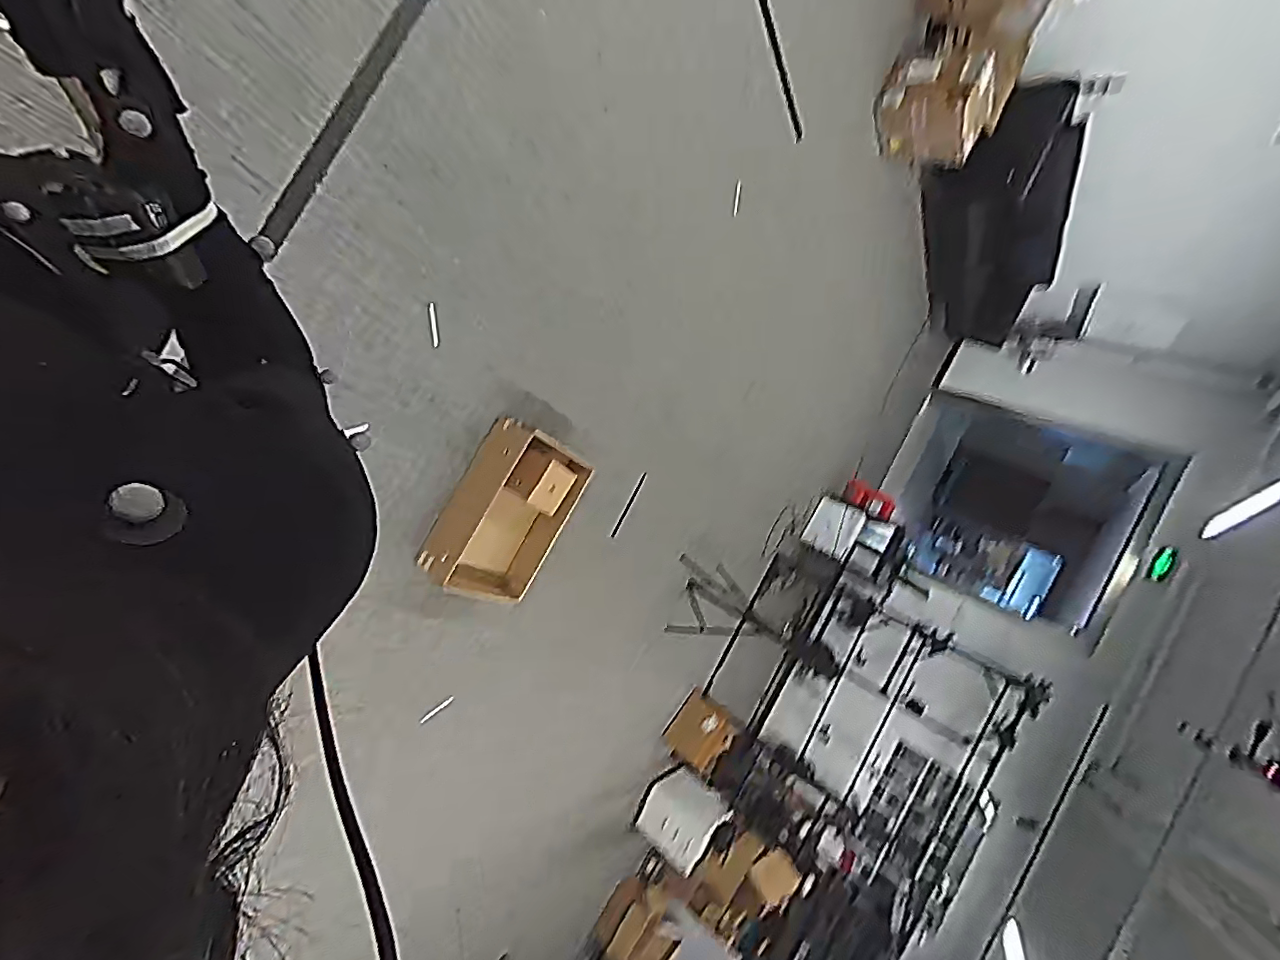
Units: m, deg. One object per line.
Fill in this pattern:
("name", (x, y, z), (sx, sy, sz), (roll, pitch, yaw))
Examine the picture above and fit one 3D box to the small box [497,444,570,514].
("small box", (-0.400, -0.005, 2.002), (0.179, 0.176, 0.168), (-59, 147, -6))
